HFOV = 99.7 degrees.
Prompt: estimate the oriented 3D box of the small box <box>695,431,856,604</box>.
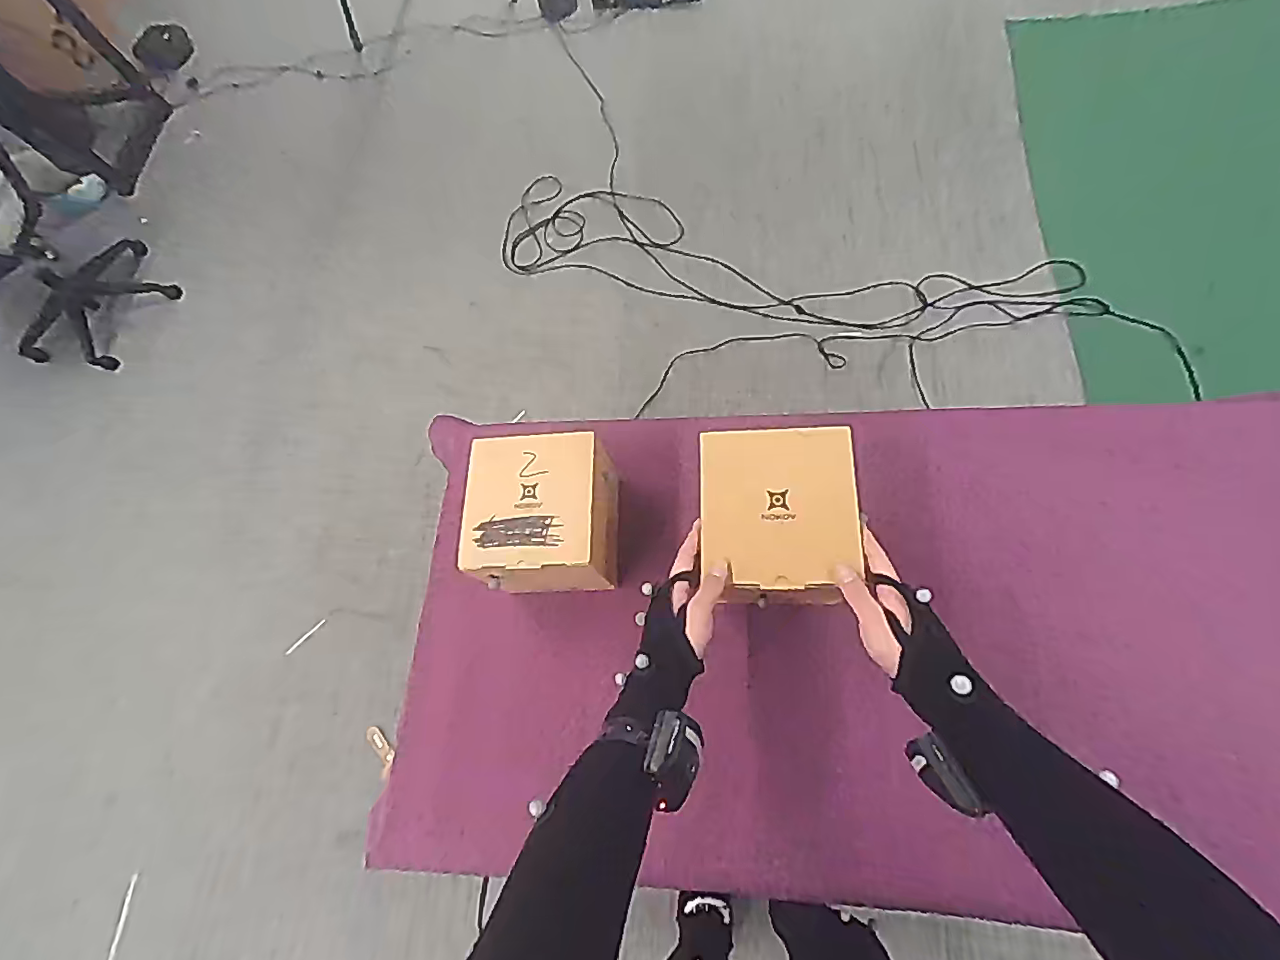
[{"bbox_3d":[0.153,0.054,0.658,0.168,0.176,0.179,-2,73,9],"label":"small box"}]
